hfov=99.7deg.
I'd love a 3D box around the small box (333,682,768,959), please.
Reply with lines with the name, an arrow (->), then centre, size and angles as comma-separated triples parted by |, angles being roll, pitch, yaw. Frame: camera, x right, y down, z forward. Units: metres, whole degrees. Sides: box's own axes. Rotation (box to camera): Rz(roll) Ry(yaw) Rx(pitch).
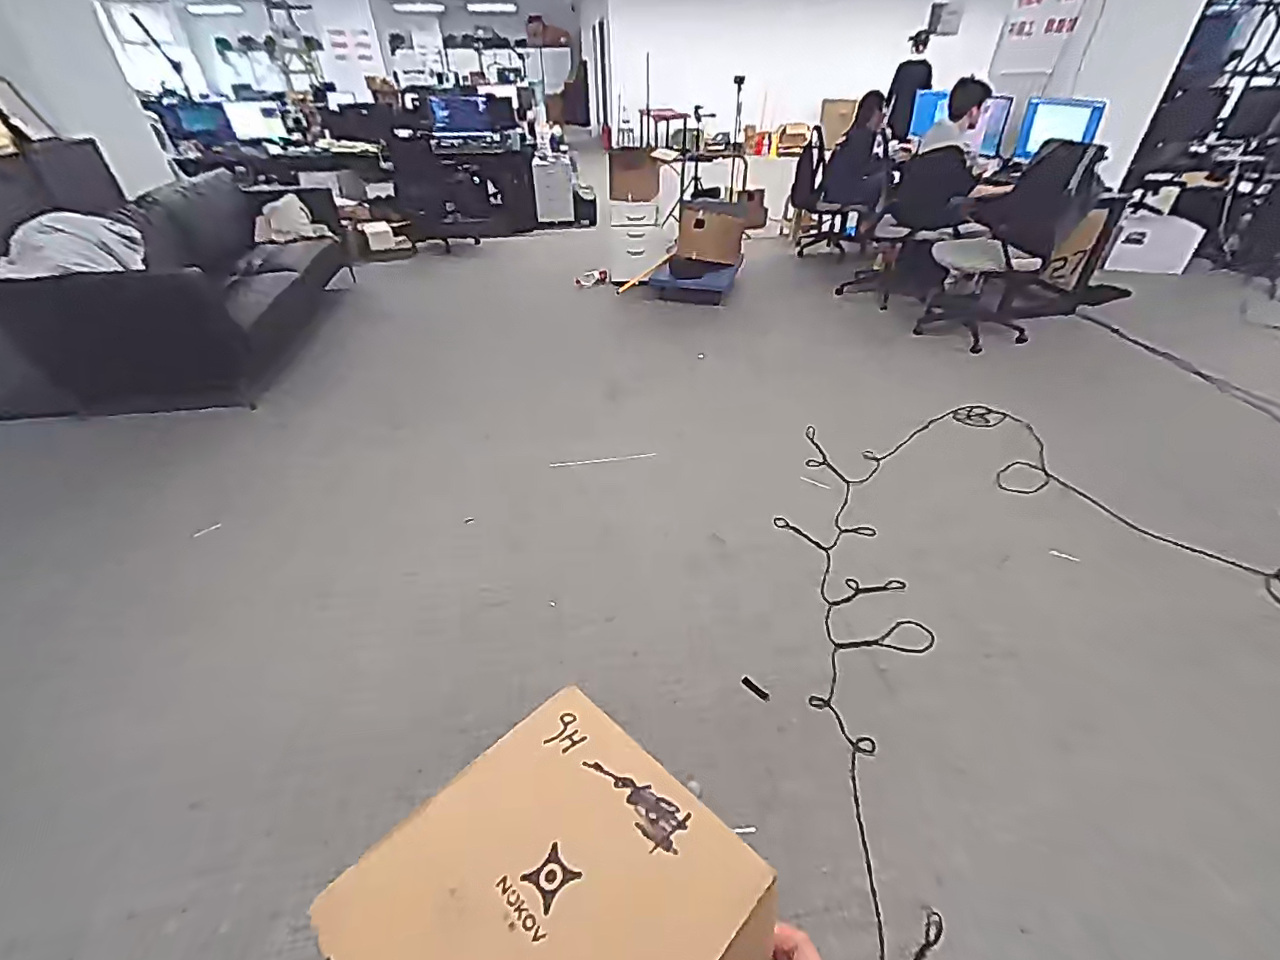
small box -> -0.038, 0.272, 0.325 | 0.179, 0.176, 0.168 | -33, 41, -33
